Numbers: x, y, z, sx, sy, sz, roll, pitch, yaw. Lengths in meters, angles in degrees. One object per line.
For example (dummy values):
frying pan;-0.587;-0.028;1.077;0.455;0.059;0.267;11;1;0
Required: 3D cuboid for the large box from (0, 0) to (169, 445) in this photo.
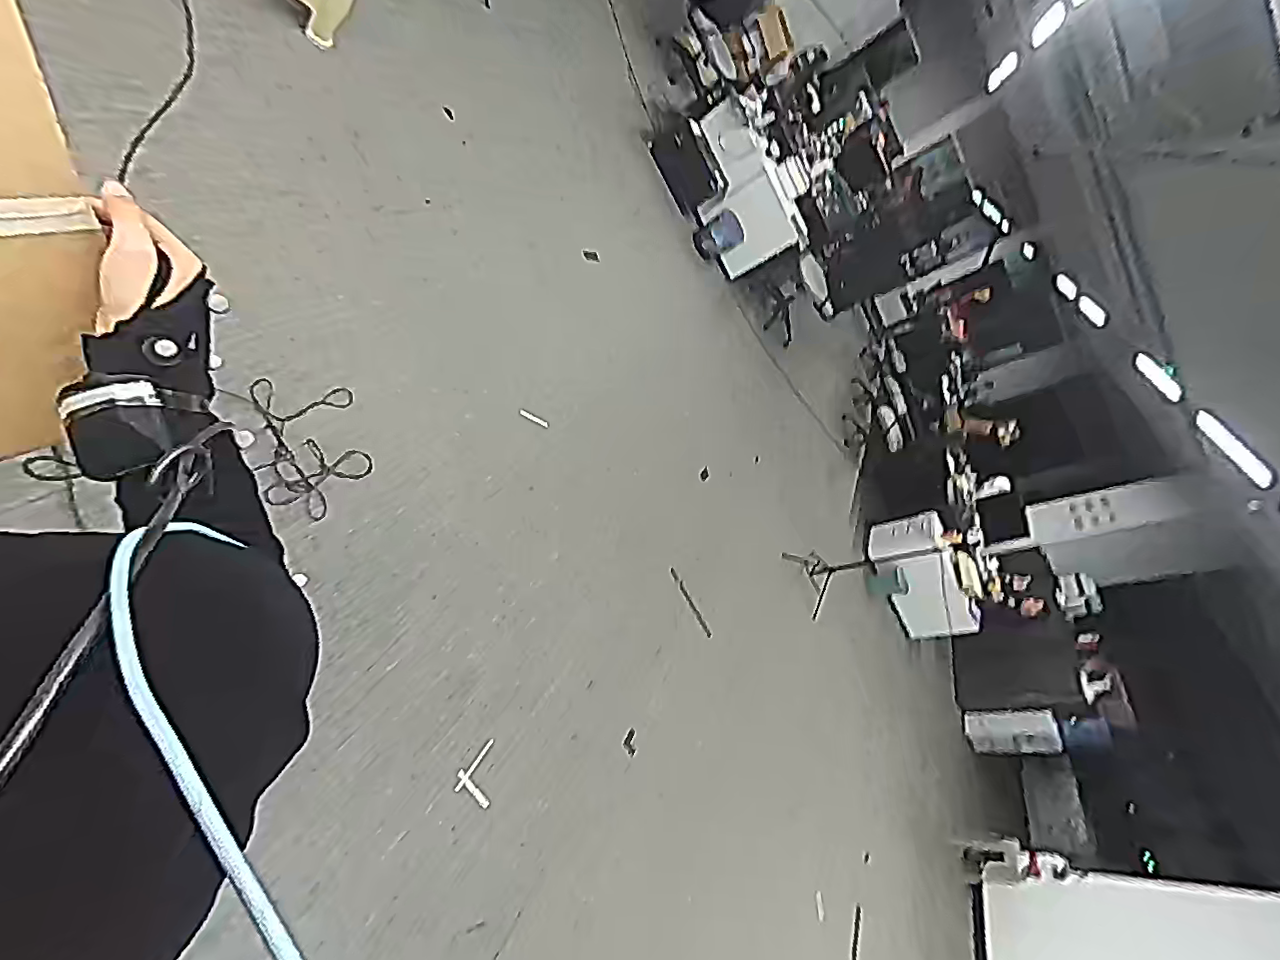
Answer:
large box;-0.581;-0.156;0.248;0.408;0.320;0.320;-50;156;-53
